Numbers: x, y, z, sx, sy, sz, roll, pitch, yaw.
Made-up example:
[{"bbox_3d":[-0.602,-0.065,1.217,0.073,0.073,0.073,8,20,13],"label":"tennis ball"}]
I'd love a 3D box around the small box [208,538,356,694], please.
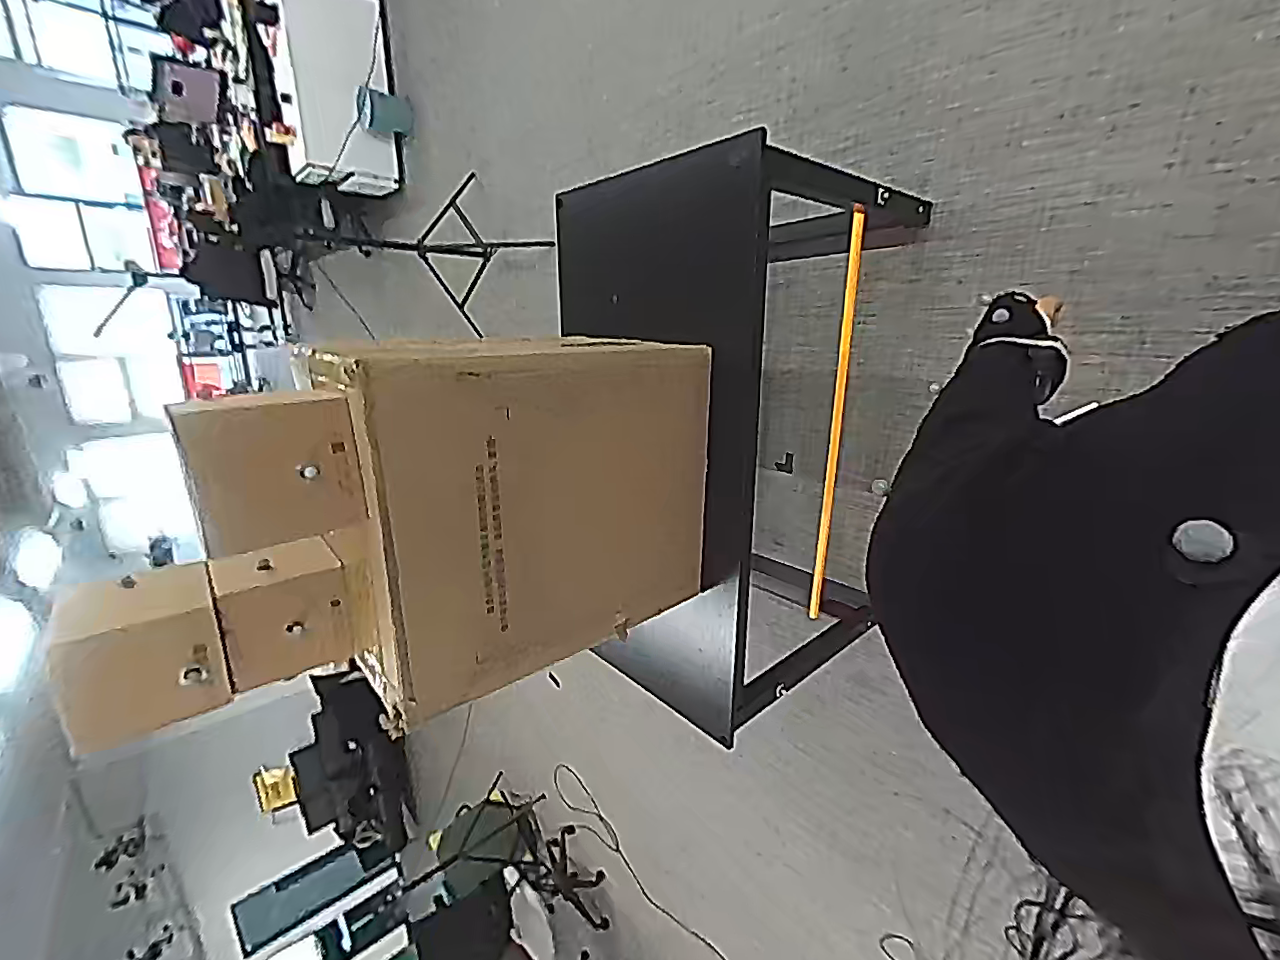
[{"bbox_3d":[-0.580,0.208,0.887,0.179,0.176,0.168,18,113,46],"label":"small box"}]

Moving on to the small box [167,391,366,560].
[{"bbox_3d":[-0.469,-0.020,0.686,0.179,0.176,0.168,14,113,46],"label":"small box"}]

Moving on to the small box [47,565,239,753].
[{"bbox_3d":[-0.693,0.237,0.772,0.179,0.176,0.168,20,116,45],"label":"small box"}]
